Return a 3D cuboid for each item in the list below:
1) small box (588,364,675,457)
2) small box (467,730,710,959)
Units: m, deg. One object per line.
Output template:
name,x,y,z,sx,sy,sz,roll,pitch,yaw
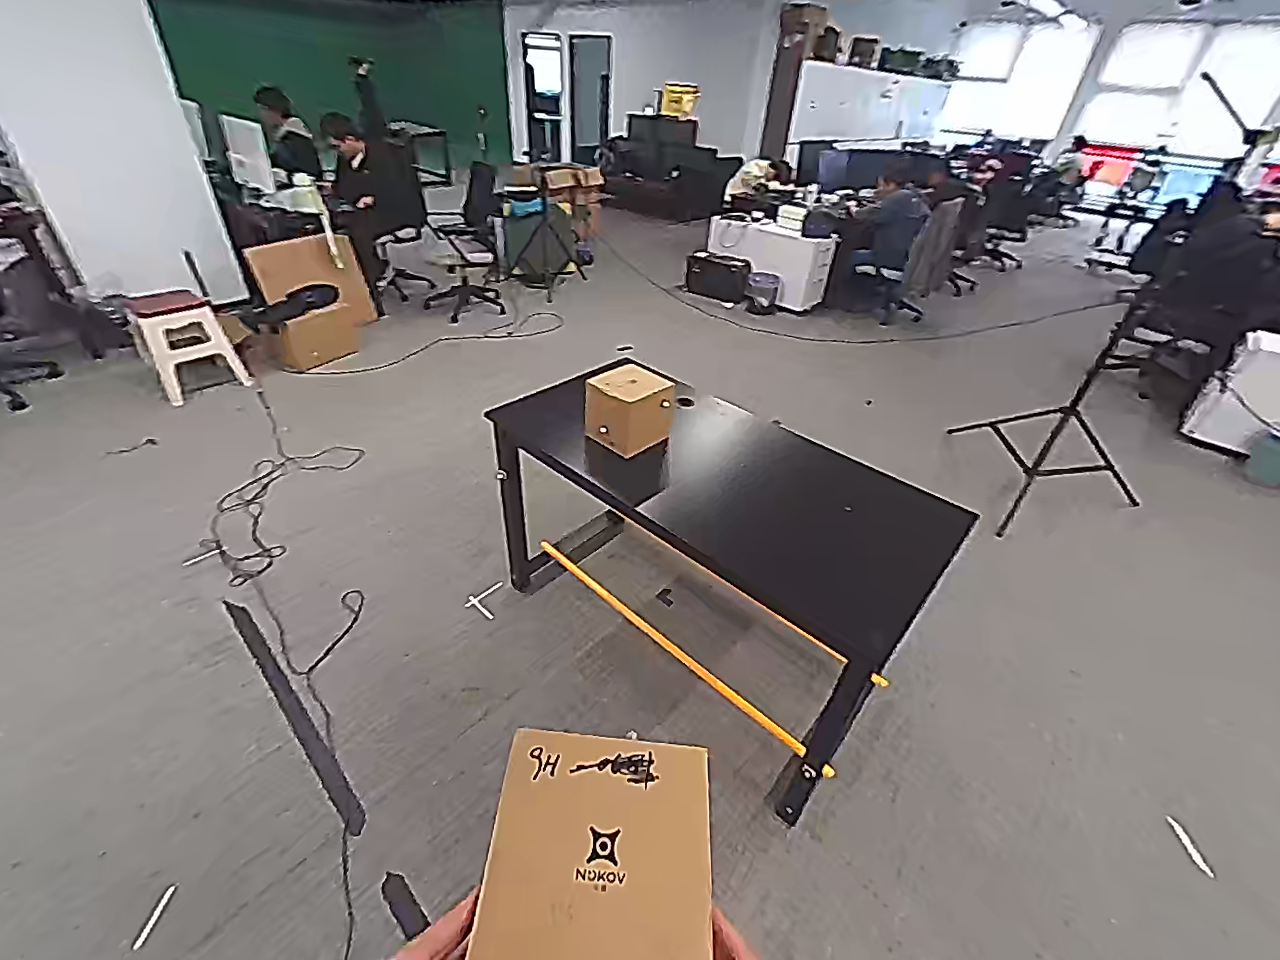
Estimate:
small box,-0.029,-0.191,1.477,0.168,0.176,0.179,32,44,32
small box,-0.037,0.337,0.456,0.168,0.176,0.179,7,46,-3
